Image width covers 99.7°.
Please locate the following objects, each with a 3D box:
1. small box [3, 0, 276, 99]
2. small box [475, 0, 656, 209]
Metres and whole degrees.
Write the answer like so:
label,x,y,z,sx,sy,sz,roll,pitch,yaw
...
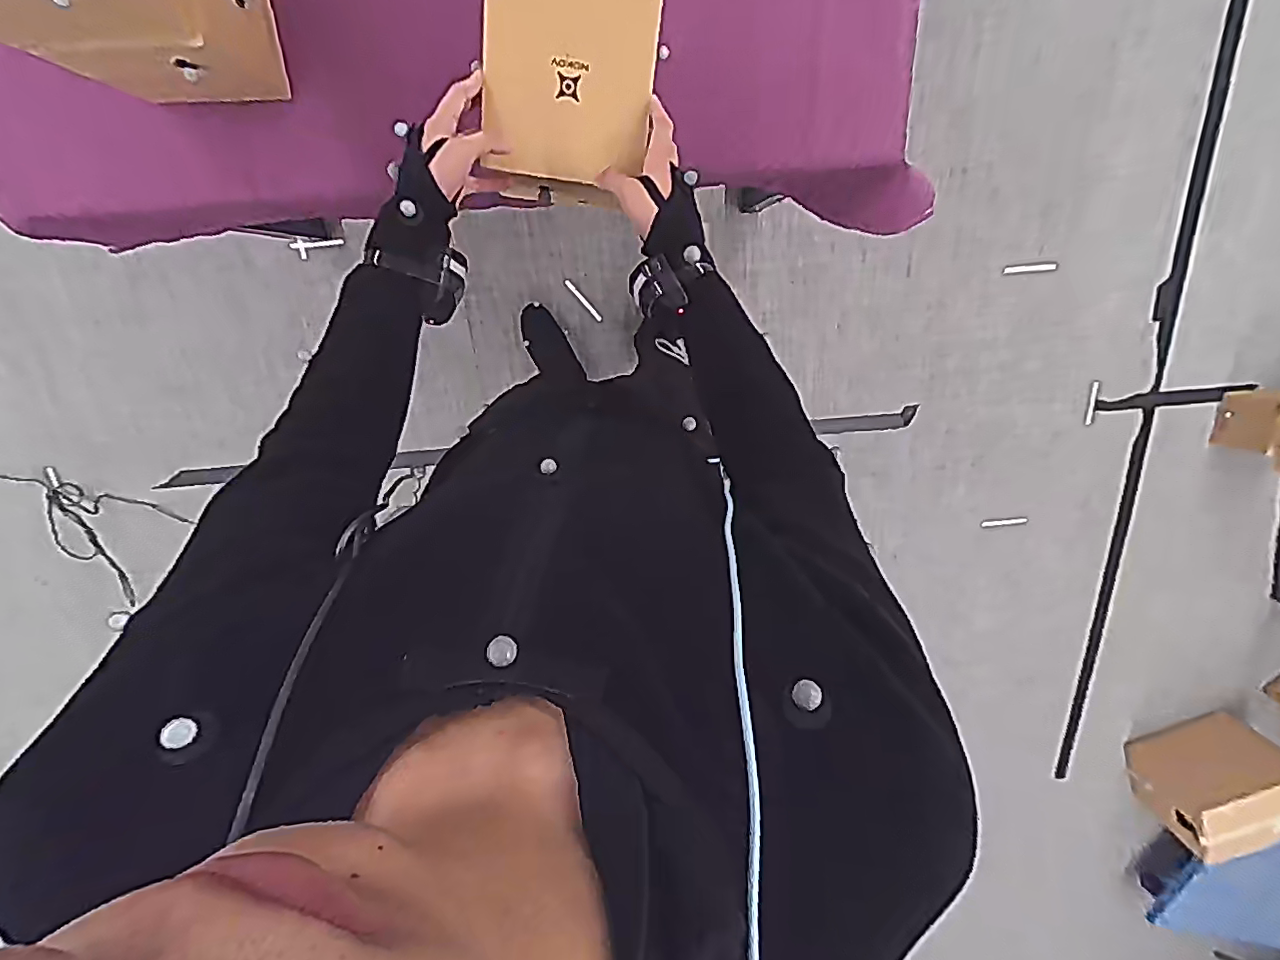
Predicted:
label,x,y,z,sx,sy,sz,roll,pitch,yaw
small box,-0.532,-0.533,0.583,0.179,0.176,0.168,-3,110,-3
small box,-0.080,-0.411,0.593,0.168,0.176,0.179,4,107,-7
